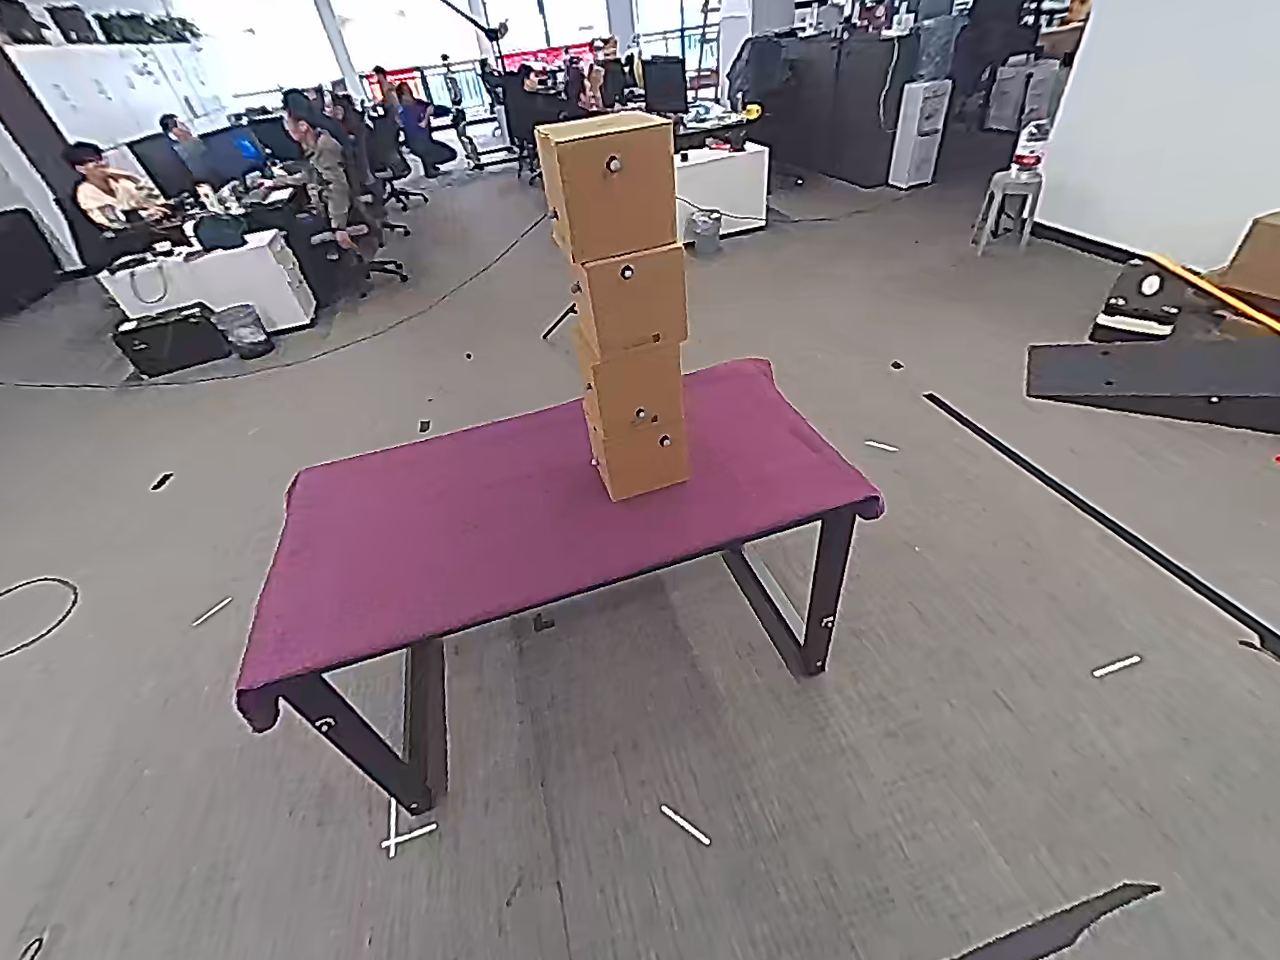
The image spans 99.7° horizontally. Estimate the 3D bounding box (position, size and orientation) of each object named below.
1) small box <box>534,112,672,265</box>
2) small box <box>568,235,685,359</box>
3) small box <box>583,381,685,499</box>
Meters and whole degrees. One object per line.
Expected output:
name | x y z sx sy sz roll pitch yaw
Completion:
small box | -0.055 -0.465 0.861 0.179 0.176 0.168 -17 42 -10
small box | -0.027 -0.337 0.959 0.168 0.176 0.179 -17 41 -10
small box | -0.010 -0.086 1.169 0.179 0.176 0.168 -17 41 -9
